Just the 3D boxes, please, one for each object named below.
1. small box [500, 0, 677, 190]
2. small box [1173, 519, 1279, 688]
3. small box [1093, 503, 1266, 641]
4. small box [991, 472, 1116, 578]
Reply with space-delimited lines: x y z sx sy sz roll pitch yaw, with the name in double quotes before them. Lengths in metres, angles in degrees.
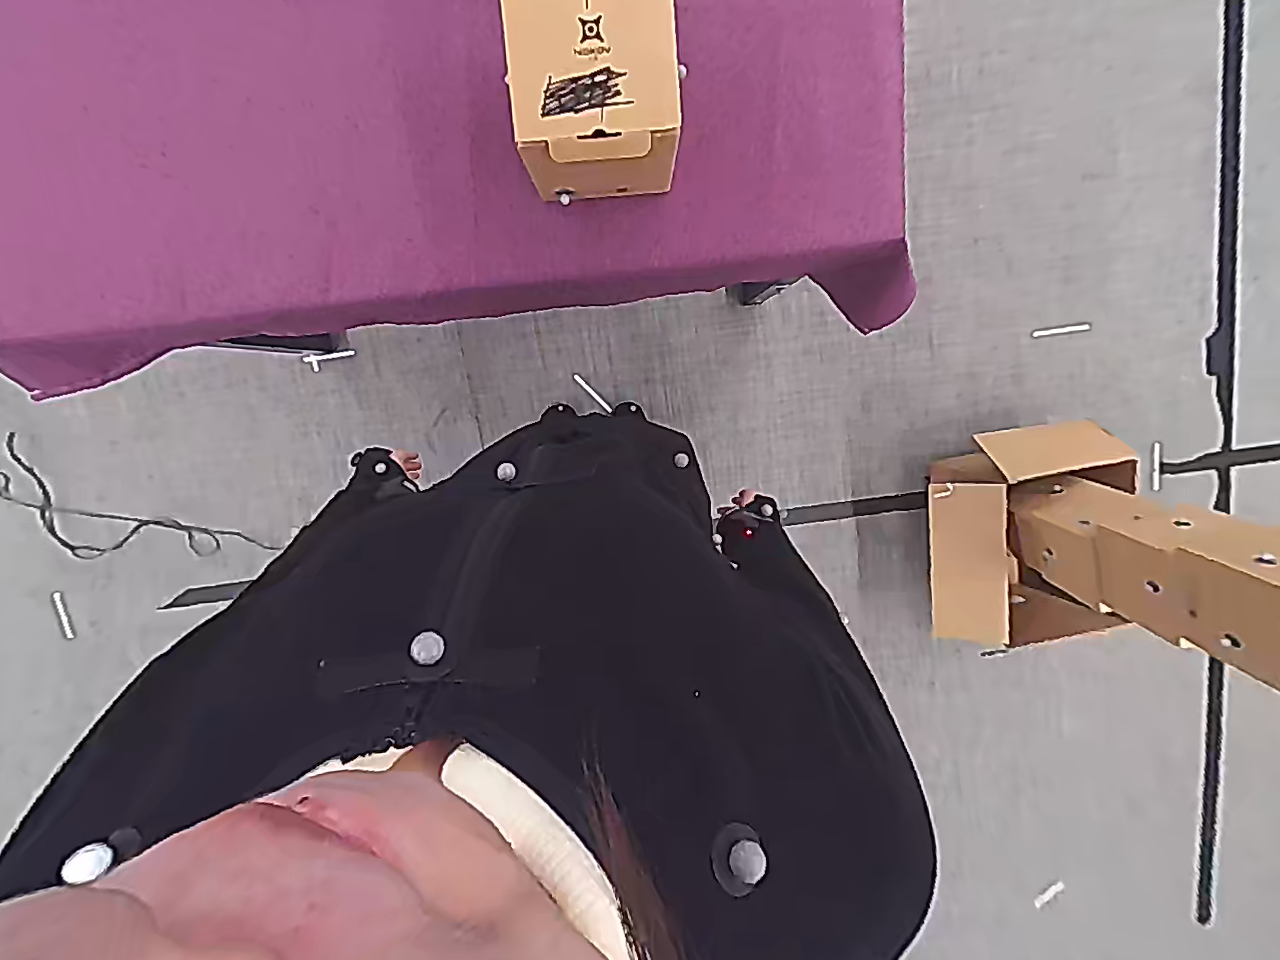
"small box" -0.050 -0.437 0.594 0.168 0.176 0.179 -5 99 -1
"small box" 0.938 0.173 0.789 0.179 0.176 0.168 -14 104 4
"small box" 0.945 0.150 0.952 0.168 0.176 0.179 -14 104 6
"small box" 0.976 0.095 1.276 0.168 0.176 0.179 -28 103 7
